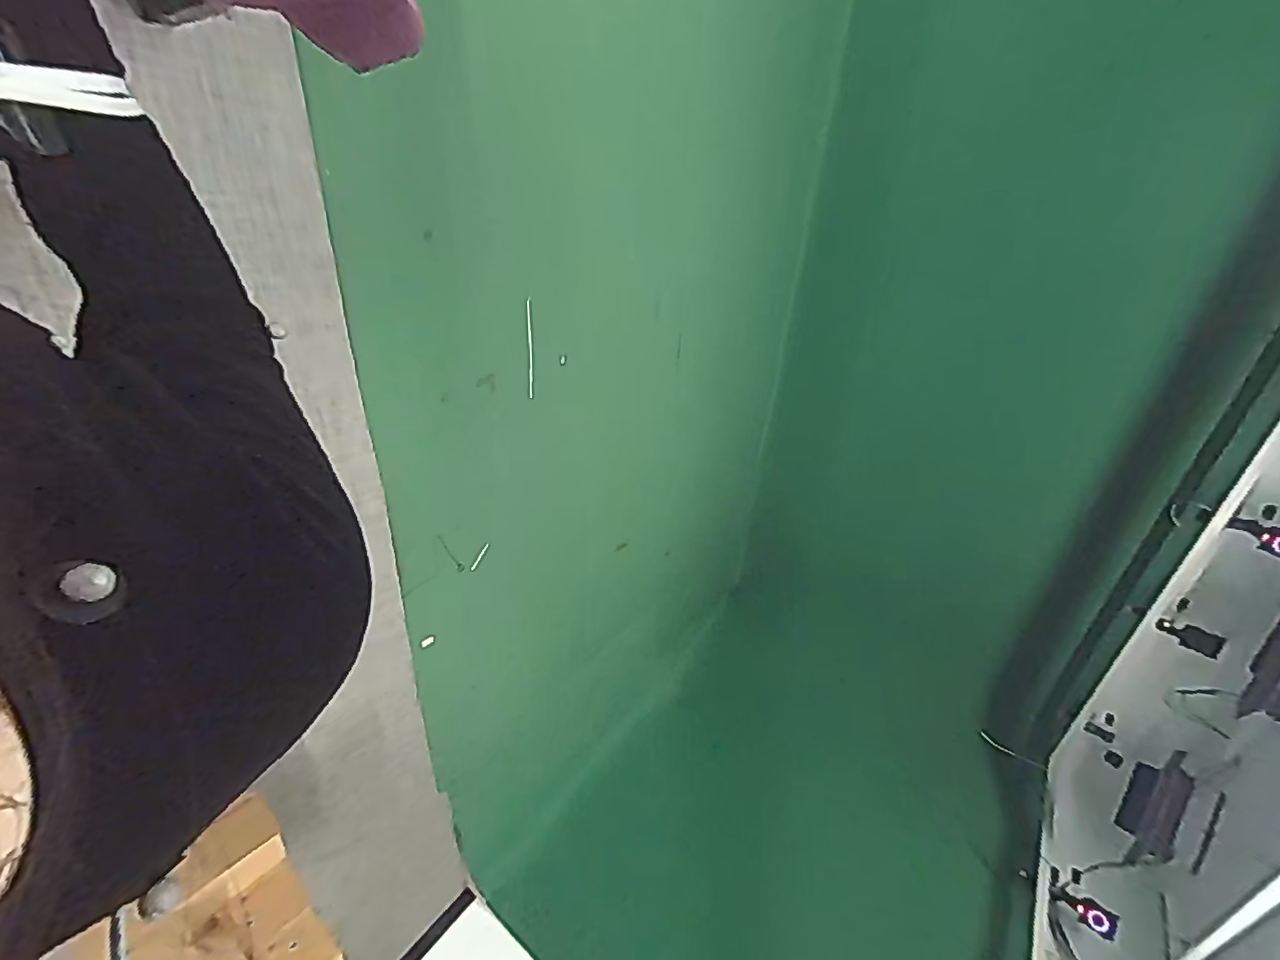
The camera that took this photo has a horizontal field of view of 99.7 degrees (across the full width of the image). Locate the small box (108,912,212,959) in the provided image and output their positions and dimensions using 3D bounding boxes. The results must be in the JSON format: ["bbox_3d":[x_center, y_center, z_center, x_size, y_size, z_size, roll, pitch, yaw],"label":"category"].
[{"bbox_3d":[-1.099,1.161,1.248,0.168,0.176,0.179,-24,131,-49],"label":"small box"}]

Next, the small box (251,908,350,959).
[{"bbox_3d":[-0.856,1.253,1.376,0.168,0.176,0.179,-27,131,-48],"label":"small box"}]

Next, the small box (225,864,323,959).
[{"bbox_3d":[-0.982,1.191,1.460,0.168,0.176,0.179,-27,133,-48],"label":"small box"}]
